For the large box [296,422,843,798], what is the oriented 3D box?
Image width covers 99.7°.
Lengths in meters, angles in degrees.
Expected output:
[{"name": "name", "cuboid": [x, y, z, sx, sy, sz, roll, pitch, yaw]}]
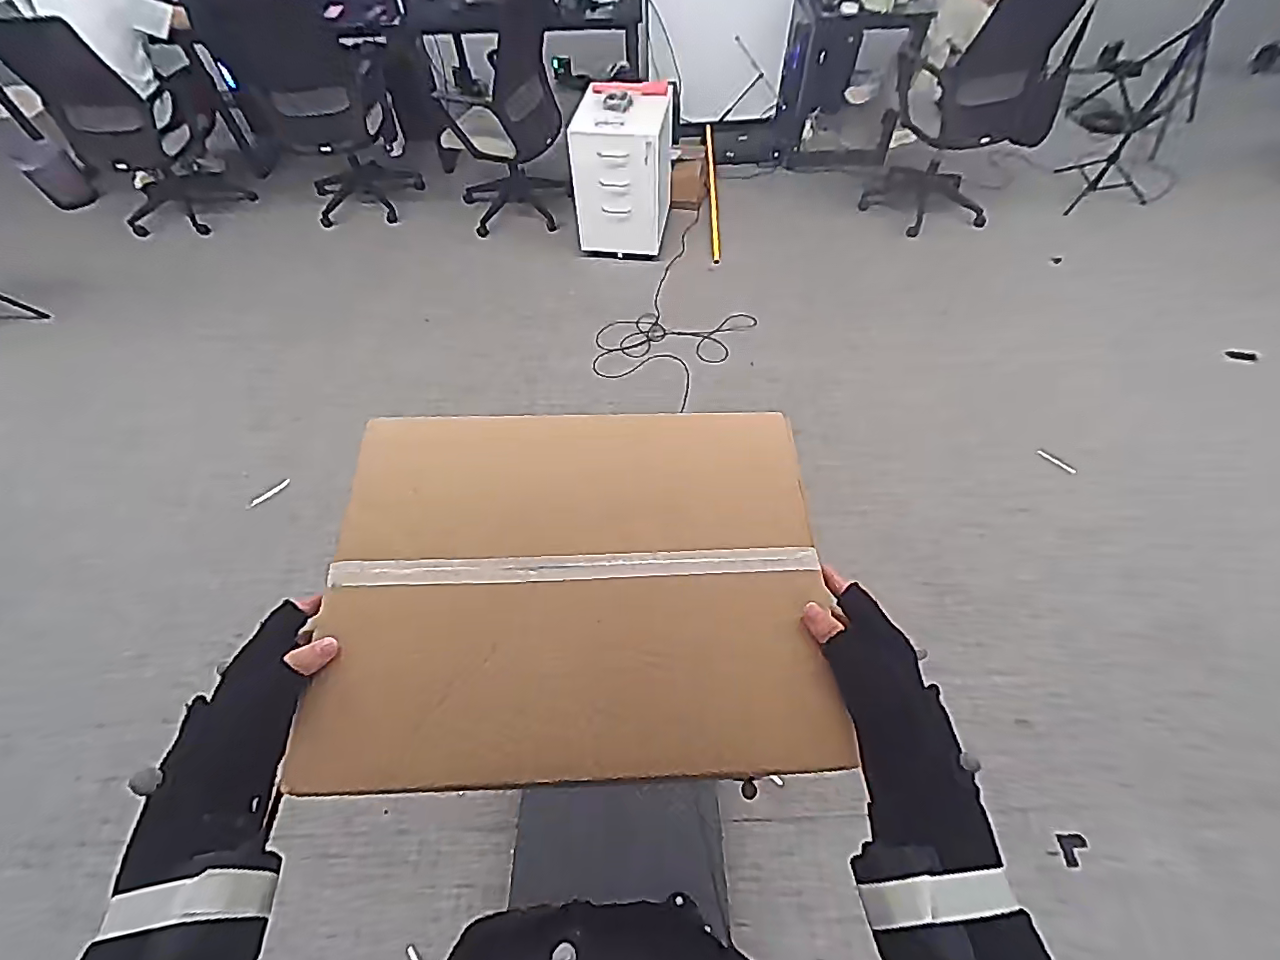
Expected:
[{"name": "large box", "cuboid": [-0.057, 0.152, 0.591, 0.408, 0.320, 0.320, -1, 61, -3]}]
